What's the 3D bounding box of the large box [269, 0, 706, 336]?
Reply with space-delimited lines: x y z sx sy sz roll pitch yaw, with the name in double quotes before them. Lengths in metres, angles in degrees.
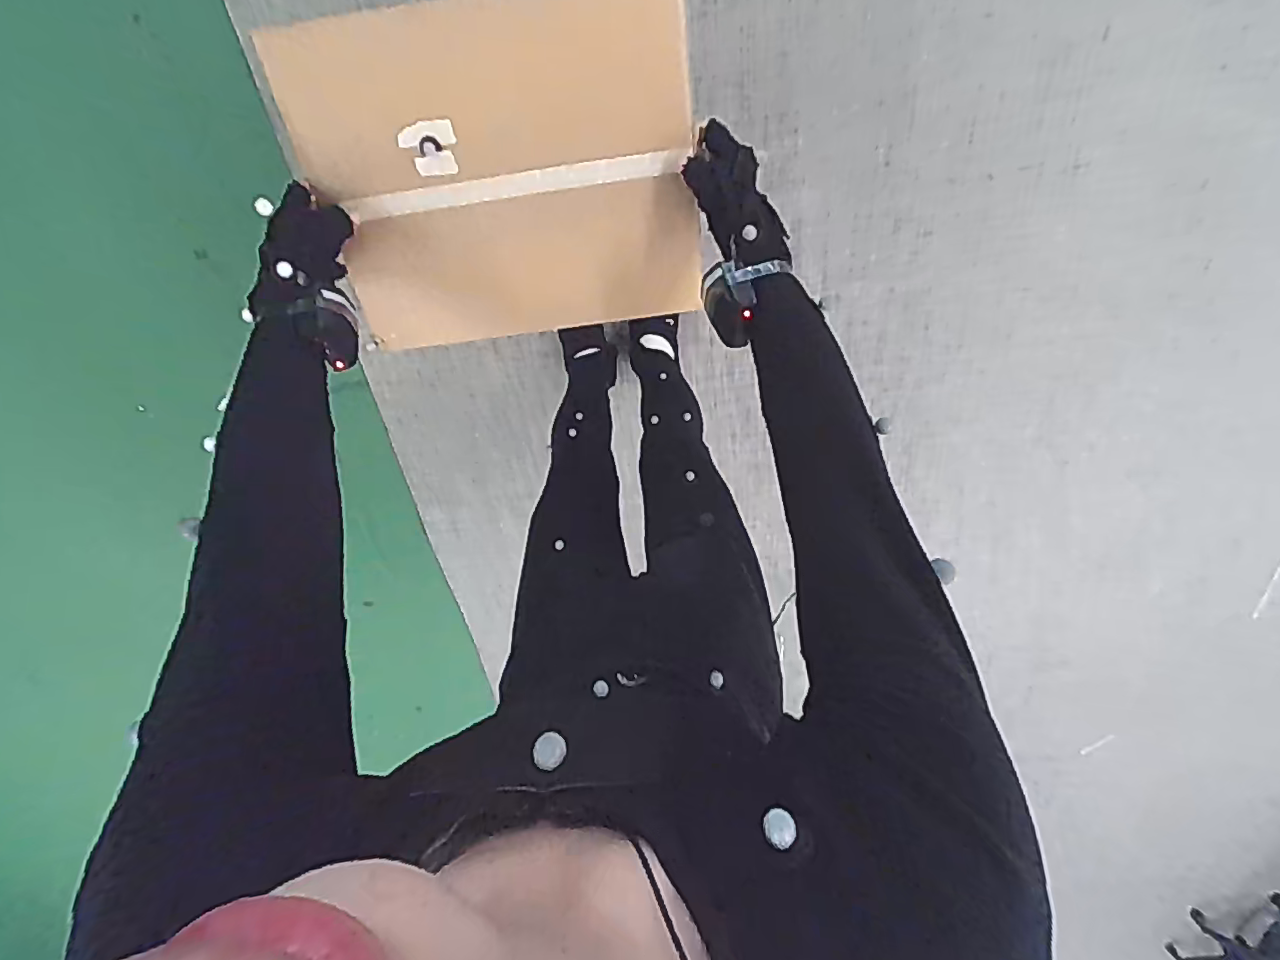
"large box" -0.137 -0.411 0.700 0.408 0.320 0.320 -6 122 3
